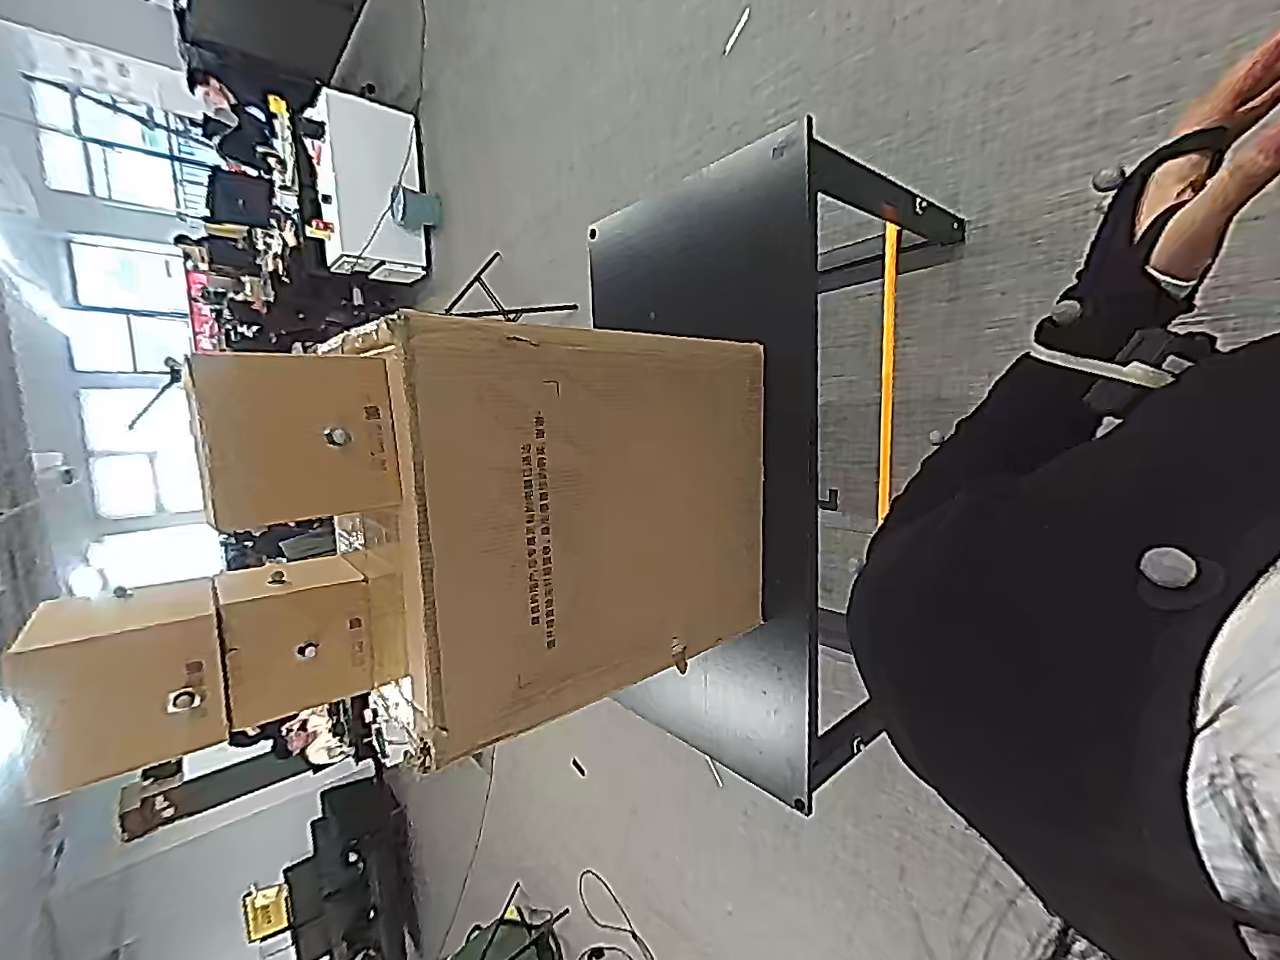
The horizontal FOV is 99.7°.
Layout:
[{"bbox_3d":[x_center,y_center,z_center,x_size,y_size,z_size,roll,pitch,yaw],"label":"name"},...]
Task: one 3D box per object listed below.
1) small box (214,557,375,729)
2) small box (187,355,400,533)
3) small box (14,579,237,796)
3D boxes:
[{"bbox_3d":[-0.487,0.215,0.772,0.179,0.176,0.168,7,100,49],"label":"small box"},{"bbox_3d":[-0.386,-0.045,0.606,0.179,0.176,0.168,3,100,49],"label":"small box"},{"bbox_3d":[-0.602,0.229,0.655,0.179,0.176,0.168,10,104,49],"label":"small box"}]
